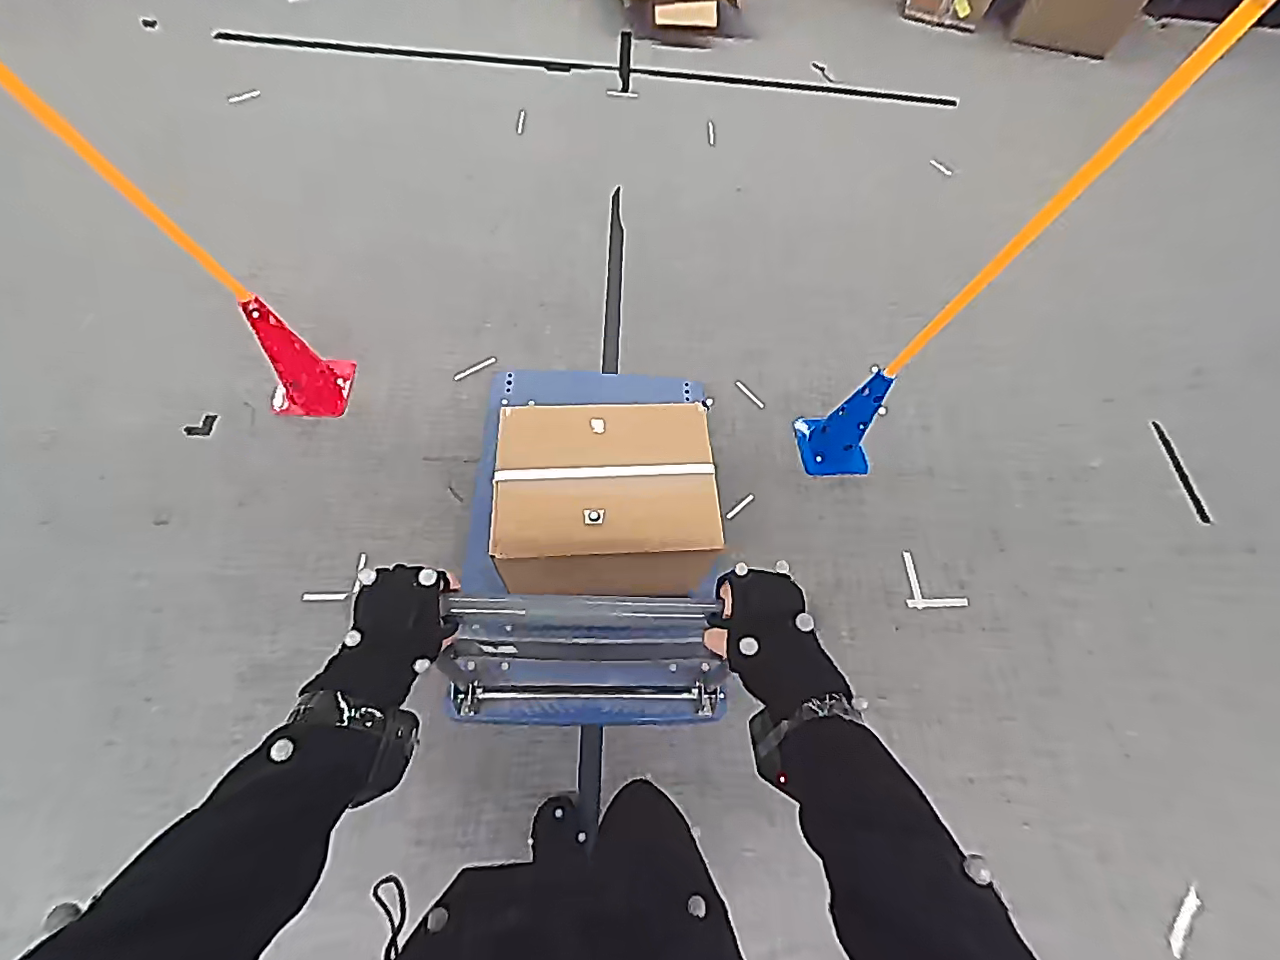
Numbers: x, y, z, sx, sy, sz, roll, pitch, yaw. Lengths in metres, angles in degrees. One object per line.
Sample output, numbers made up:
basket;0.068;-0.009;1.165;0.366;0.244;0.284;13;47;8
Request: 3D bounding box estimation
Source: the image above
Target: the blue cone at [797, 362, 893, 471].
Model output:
blue cone;0.599;-0.186;1.504;0.193;0.380;0.192;-1;63;-7
